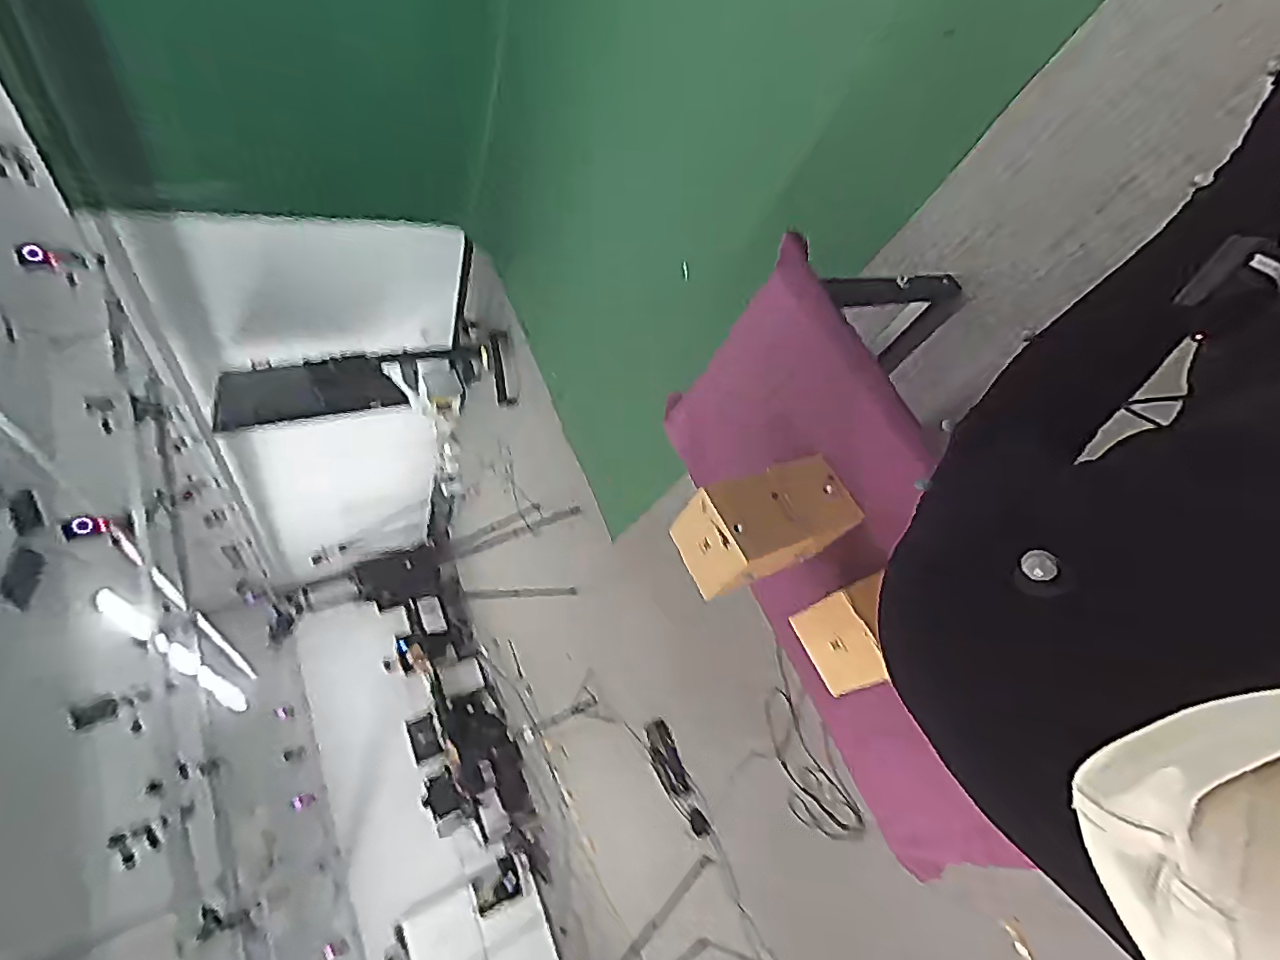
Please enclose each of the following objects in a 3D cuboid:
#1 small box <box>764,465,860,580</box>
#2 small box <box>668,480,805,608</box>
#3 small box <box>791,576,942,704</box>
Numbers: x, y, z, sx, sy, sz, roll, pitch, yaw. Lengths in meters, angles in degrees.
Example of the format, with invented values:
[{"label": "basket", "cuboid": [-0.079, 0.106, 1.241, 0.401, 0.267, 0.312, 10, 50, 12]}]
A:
[{"label": "small box", "cuboid": [0.325, 0.091, 1.152, 0.168, 0.176, 0.179, 61, 145, 22]}, {"label": "small box", "cuboid": [0.188, 0.124, 1.067, 0.168, 0.176, 0.179, 60, 146, 23]}, {"label": "small box", "cuboid": [0.440, 0.311, 1.058, 0.168, 0.176, 0.179, 62, 145, 22]}]
